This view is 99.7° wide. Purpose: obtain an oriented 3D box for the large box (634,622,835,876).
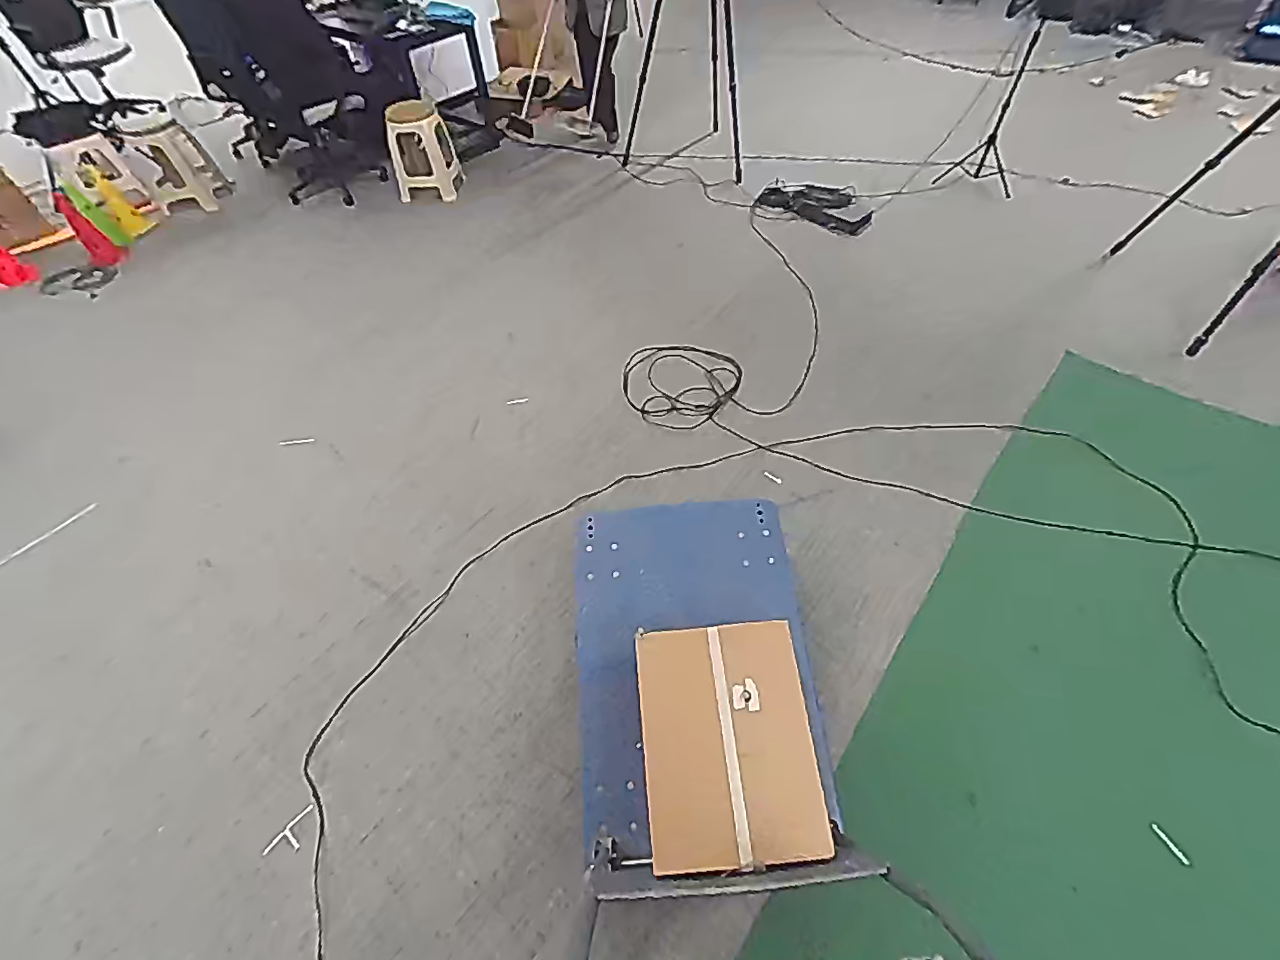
[{"bbox_3d":[0.167,0.549,1.138,0.320,0.320,0.408,-6,62,-2],"label":"large box"}]
